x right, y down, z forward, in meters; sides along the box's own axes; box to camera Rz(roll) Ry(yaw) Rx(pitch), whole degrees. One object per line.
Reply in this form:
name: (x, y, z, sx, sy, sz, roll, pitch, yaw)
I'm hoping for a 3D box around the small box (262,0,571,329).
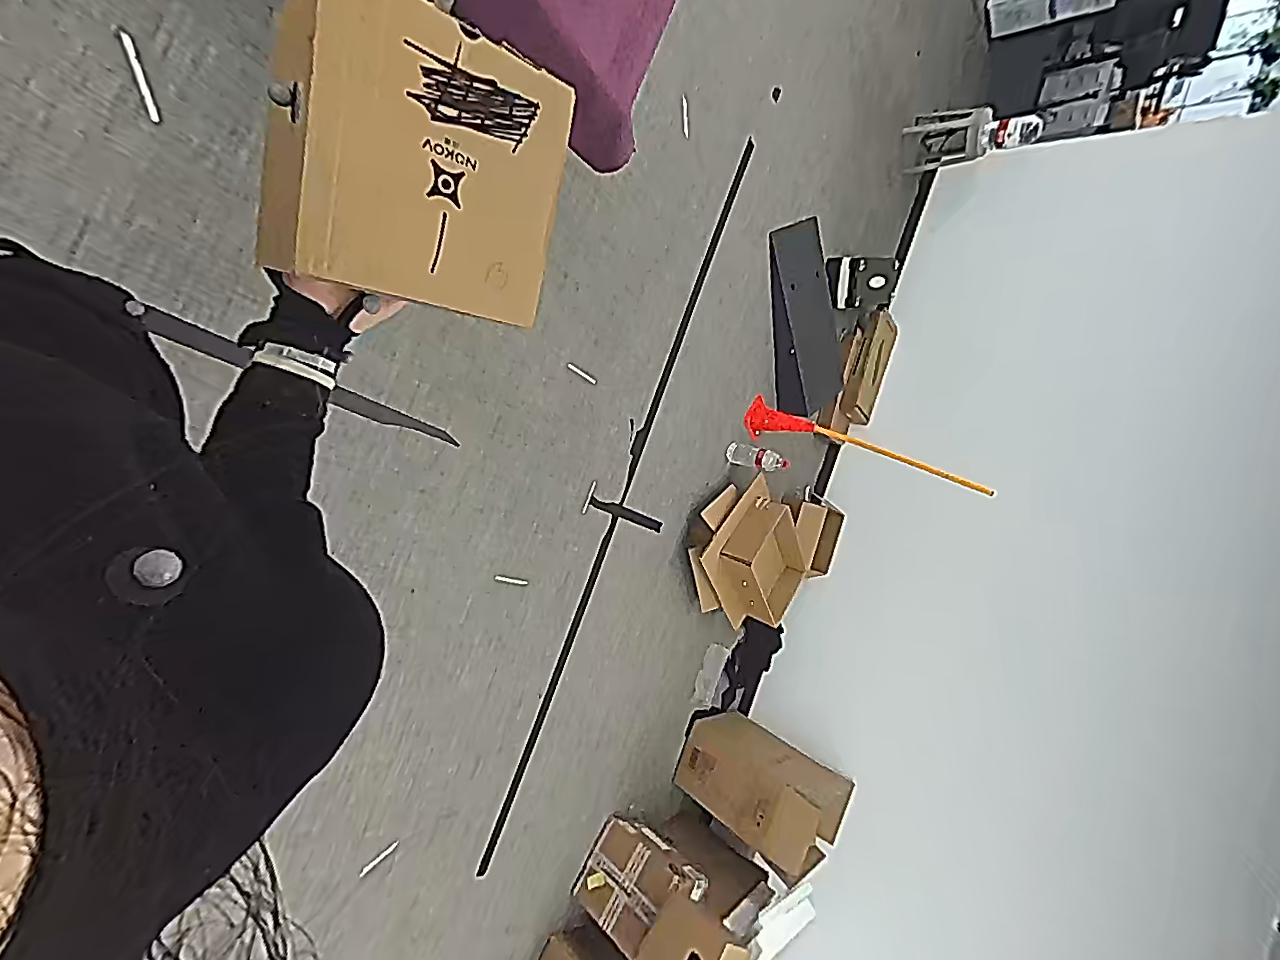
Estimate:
small box: (-0.181, -0.231, 0.421, 0.168, 0.176, 0.179, 2, 107, -43)
